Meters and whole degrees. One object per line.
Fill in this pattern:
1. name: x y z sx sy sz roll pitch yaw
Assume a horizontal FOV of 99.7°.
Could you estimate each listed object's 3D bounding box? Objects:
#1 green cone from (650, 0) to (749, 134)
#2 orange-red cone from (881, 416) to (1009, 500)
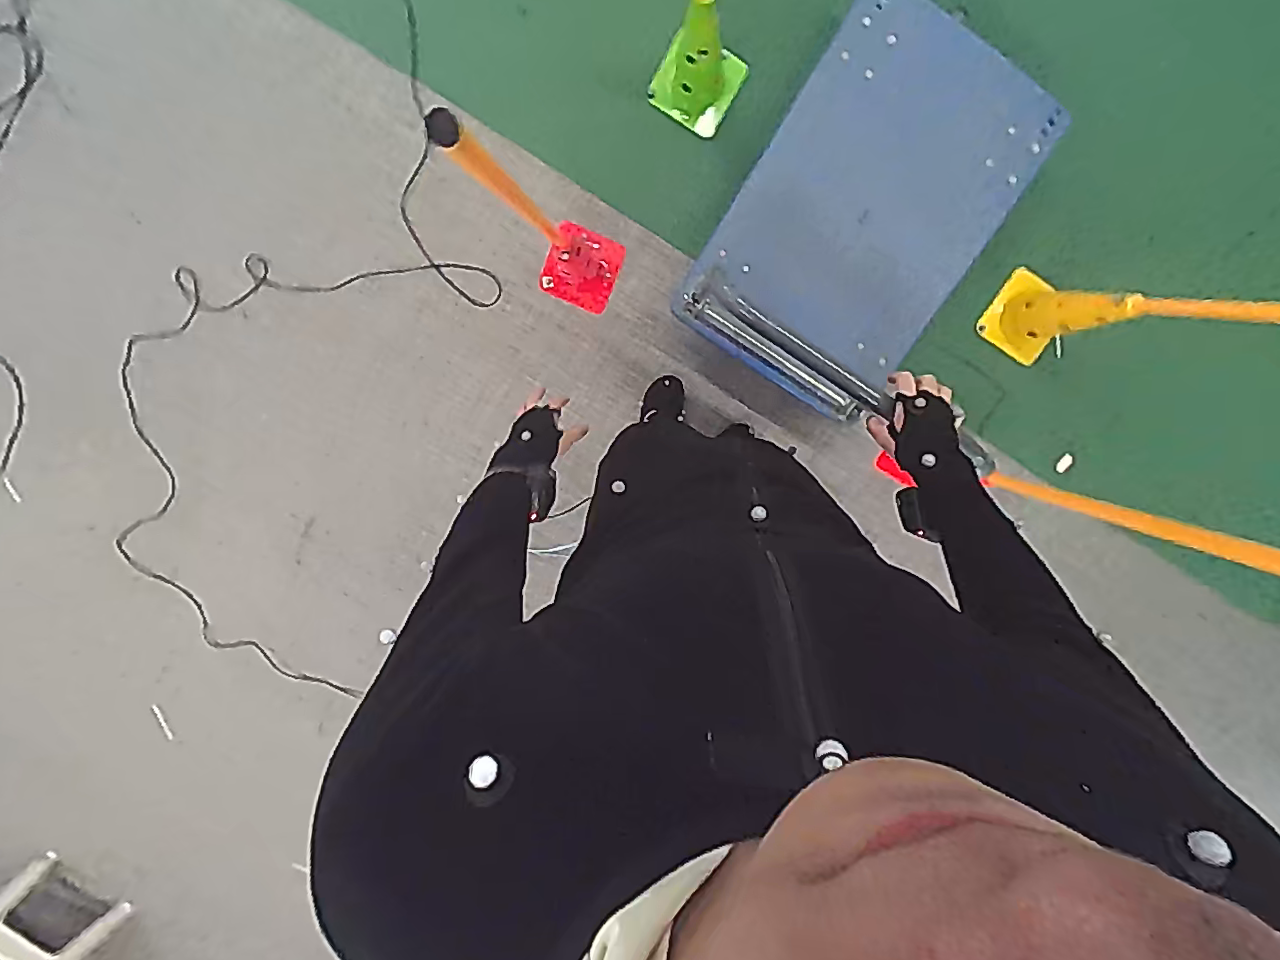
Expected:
1. green cone: 0.147 -0.989 1.213 0.200 0.368 0.202 31 100 -4
2. orange-red cone: 0.824 -0.029 1.403 0.198 0.360 0.199 31 99 -6
